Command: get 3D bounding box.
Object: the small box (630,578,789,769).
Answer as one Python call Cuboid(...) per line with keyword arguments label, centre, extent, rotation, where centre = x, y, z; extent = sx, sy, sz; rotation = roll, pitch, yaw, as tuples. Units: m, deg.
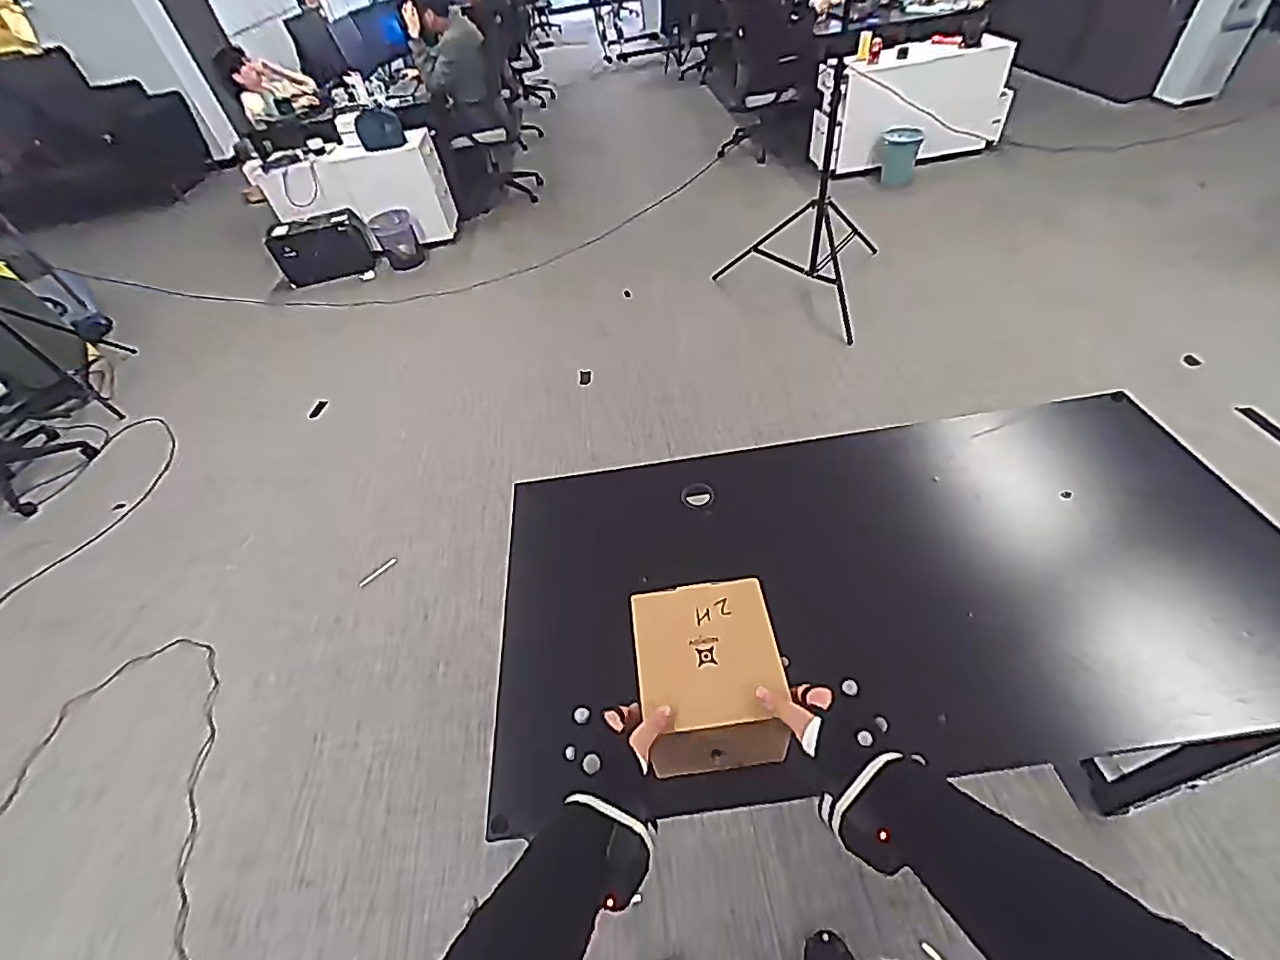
Cuboid(label="small box", centre=(0.084, 0.254, 0.694), extent=(0.168, 0.176, 0.179), rotation=(-9, 46, 1))
